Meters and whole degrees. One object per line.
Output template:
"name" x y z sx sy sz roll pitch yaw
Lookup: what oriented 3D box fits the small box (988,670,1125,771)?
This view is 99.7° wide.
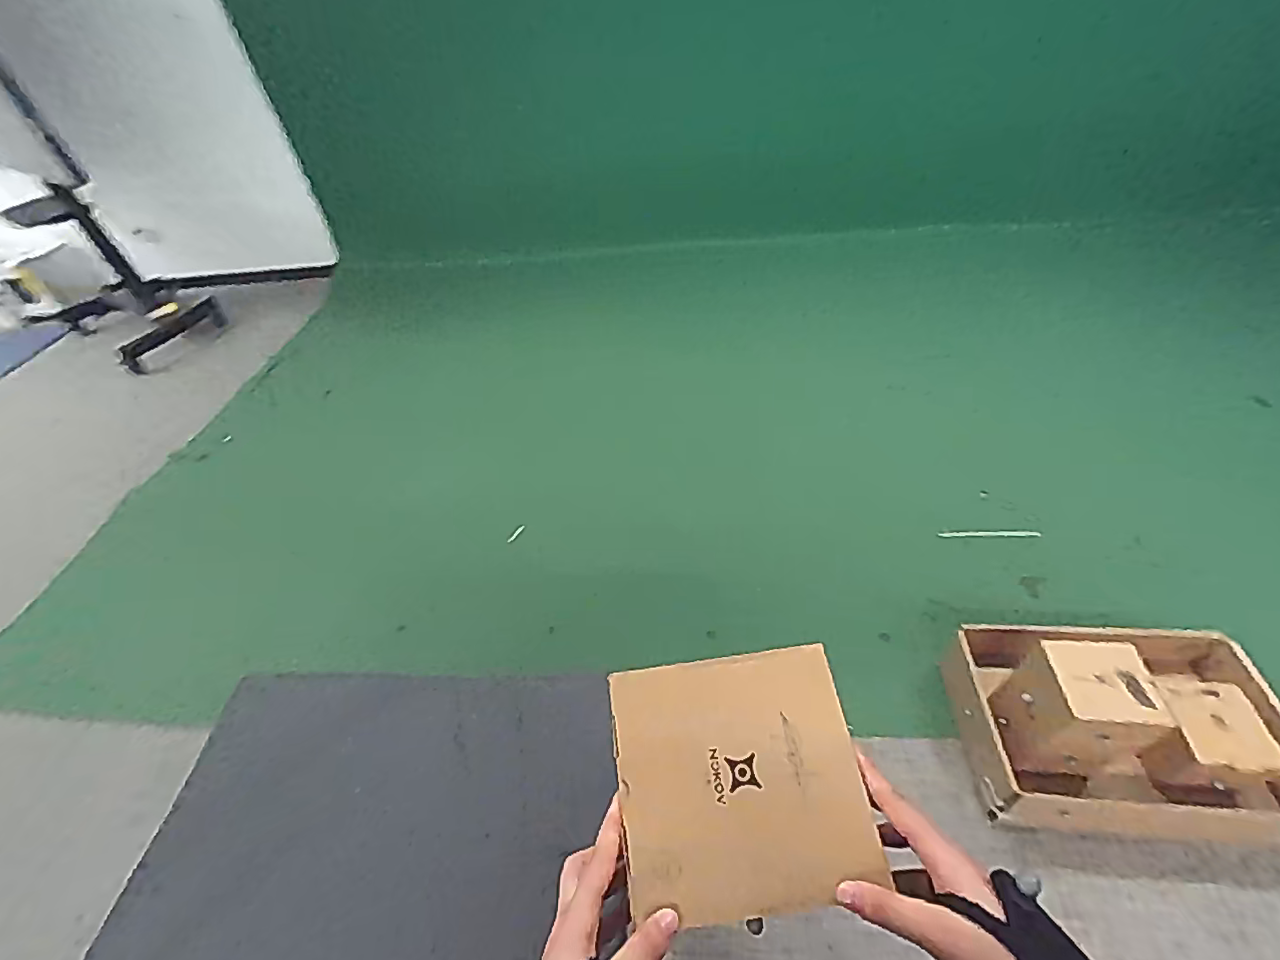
"small box" 0.933 0.552 1.238 0.179 0.176 0.168 0 47 6

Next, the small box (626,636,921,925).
"small box" 0.089 0.242 0.449 0.179 0.176 0.168 -8 60 -1

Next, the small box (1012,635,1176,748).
"small box" 0.919 0.440 1.118 0.179 0.176 0.168 0 46 8
